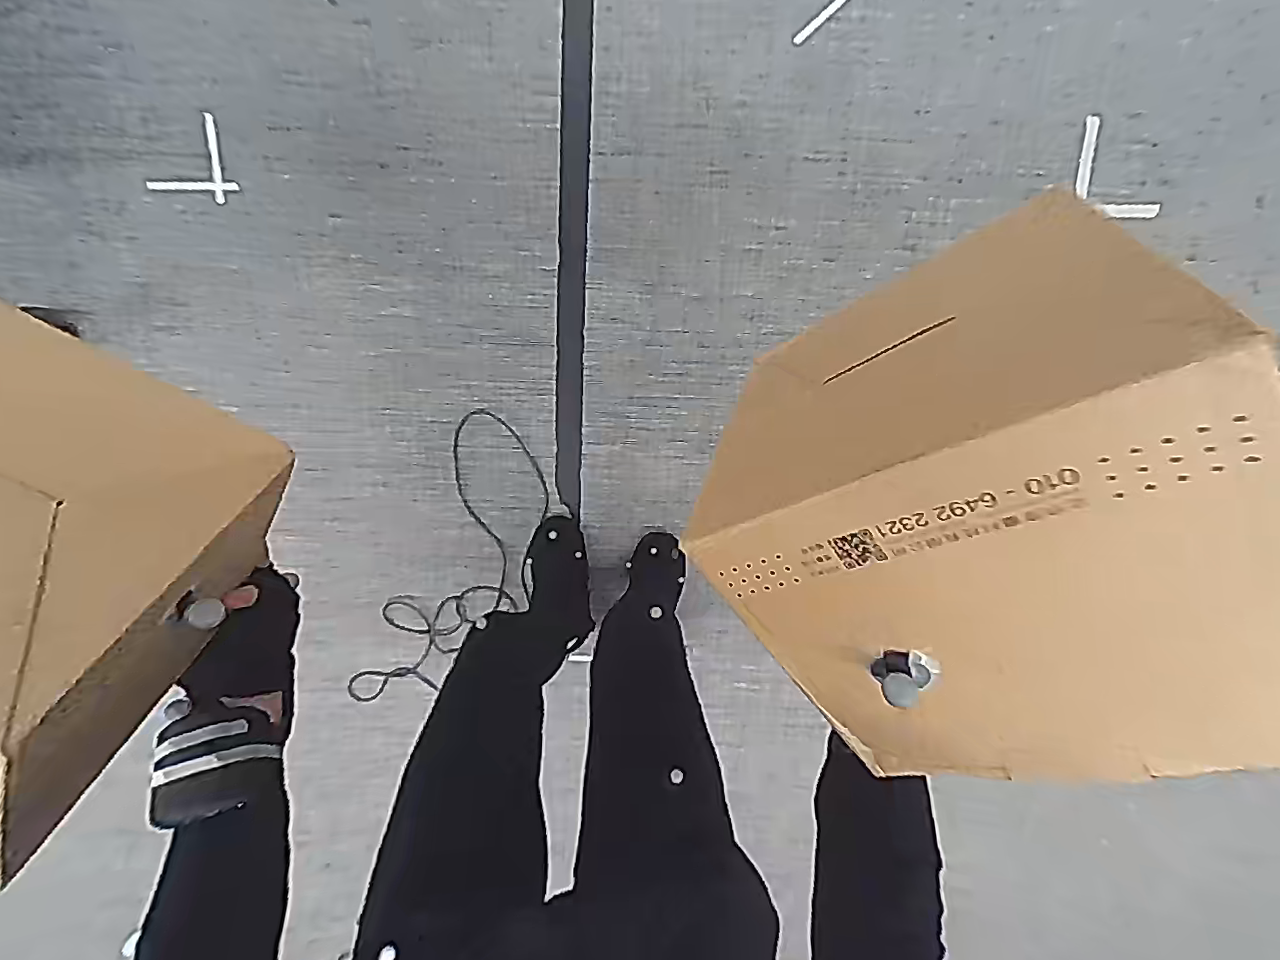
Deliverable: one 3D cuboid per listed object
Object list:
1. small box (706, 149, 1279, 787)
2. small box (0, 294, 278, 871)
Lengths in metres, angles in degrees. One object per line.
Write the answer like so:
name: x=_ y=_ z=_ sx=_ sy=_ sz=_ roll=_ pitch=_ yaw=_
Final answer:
small box: x=0.149 y=-0.002 z=0.230 sx=0.168 sy=0.179 sz=0.176 roll=-24 pitch=115 yaw=36
small box: x=-0.302 y=0.040 z=0.234 sx=0.168 sy=0.179 sz=0.176 roll=31 pitch=120 yaw=-19
